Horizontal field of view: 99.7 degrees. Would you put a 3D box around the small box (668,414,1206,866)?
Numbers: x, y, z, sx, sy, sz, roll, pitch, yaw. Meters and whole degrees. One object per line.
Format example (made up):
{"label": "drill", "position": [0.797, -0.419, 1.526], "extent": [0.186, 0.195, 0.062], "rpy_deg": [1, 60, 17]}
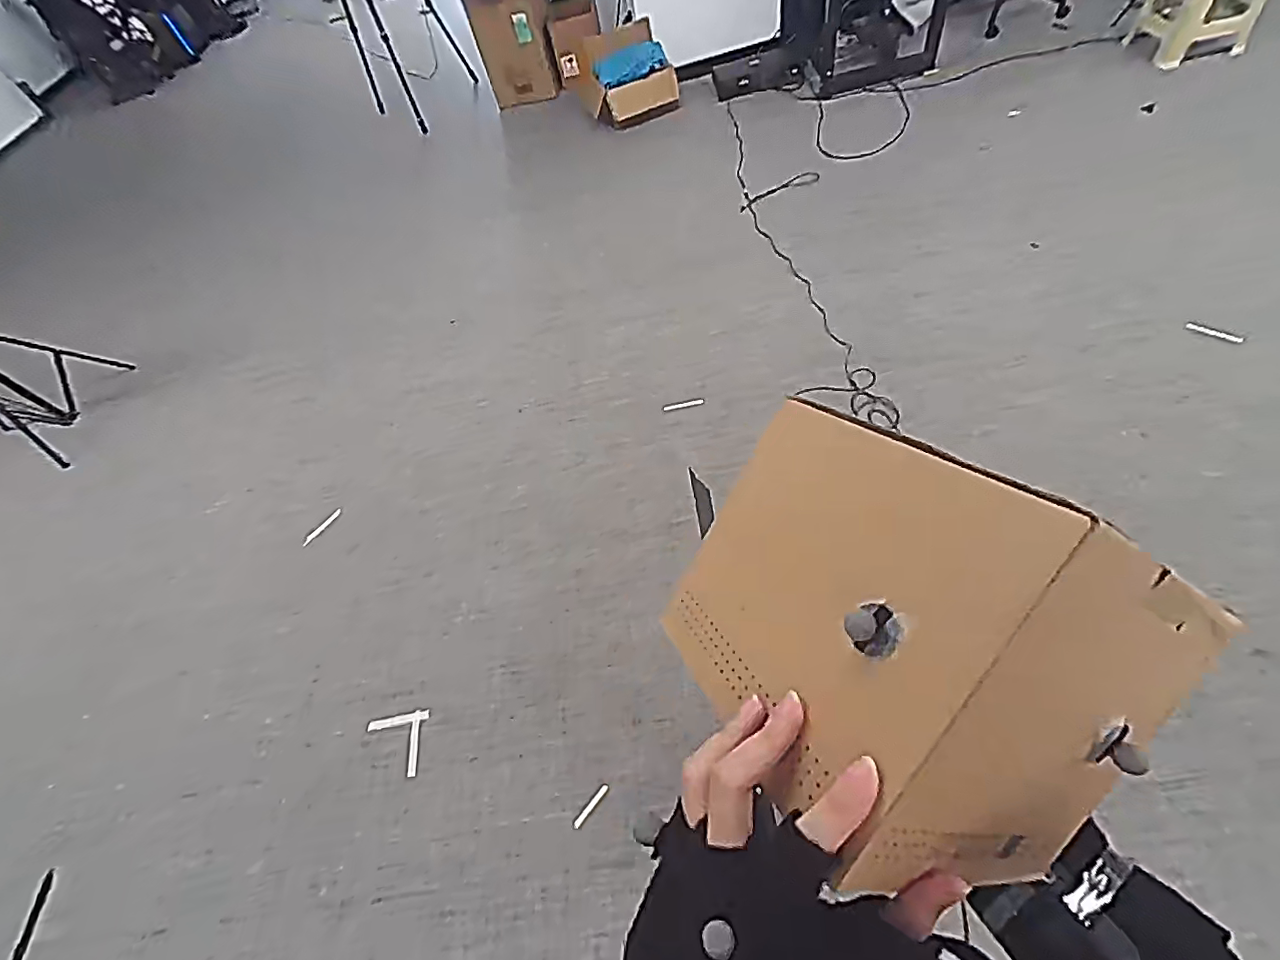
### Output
{"label": "small box", "position": [0.144, 0.086, 0.315], "extent": [0.176, 0.168, 0.179], "rpy_deg": [-63, 28, 10]}
